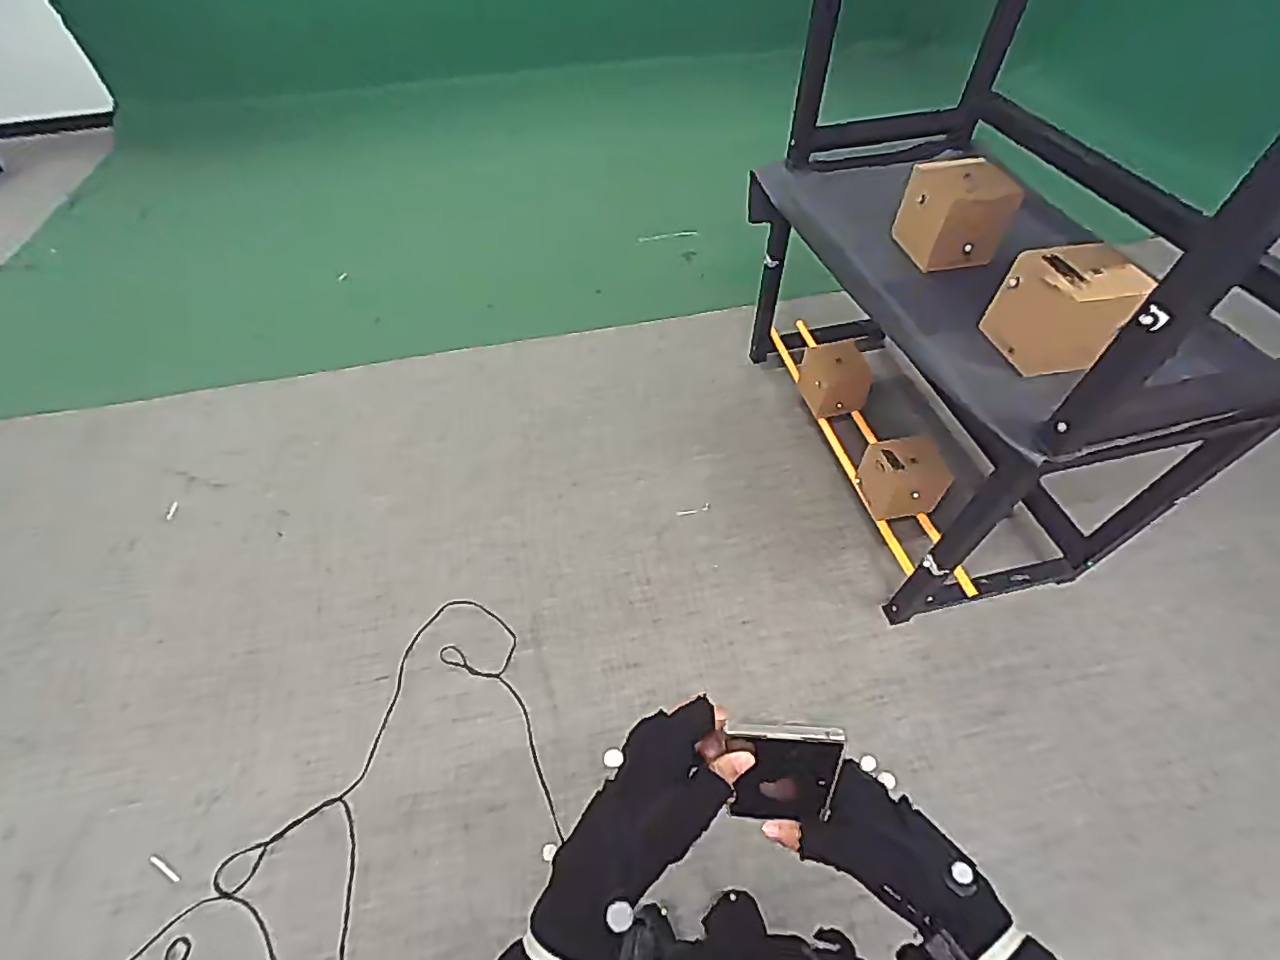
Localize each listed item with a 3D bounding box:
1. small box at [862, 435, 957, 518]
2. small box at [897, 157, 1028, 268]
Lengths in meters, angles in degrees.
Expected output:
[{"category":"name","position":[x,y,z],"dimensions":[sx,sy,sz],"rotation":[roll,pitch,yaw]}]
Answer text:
[{"category":"small box","position":[0.763,-0.006,1.562],"dimensions":[0.179,0.176,0.168],"rotation":[-9,53,-4]},{"category":"small box","position":[0.726,-0.613,1.242],"dimensions":[0.168,0.176,0.179],"rotation":[-9,53,-4]}]
